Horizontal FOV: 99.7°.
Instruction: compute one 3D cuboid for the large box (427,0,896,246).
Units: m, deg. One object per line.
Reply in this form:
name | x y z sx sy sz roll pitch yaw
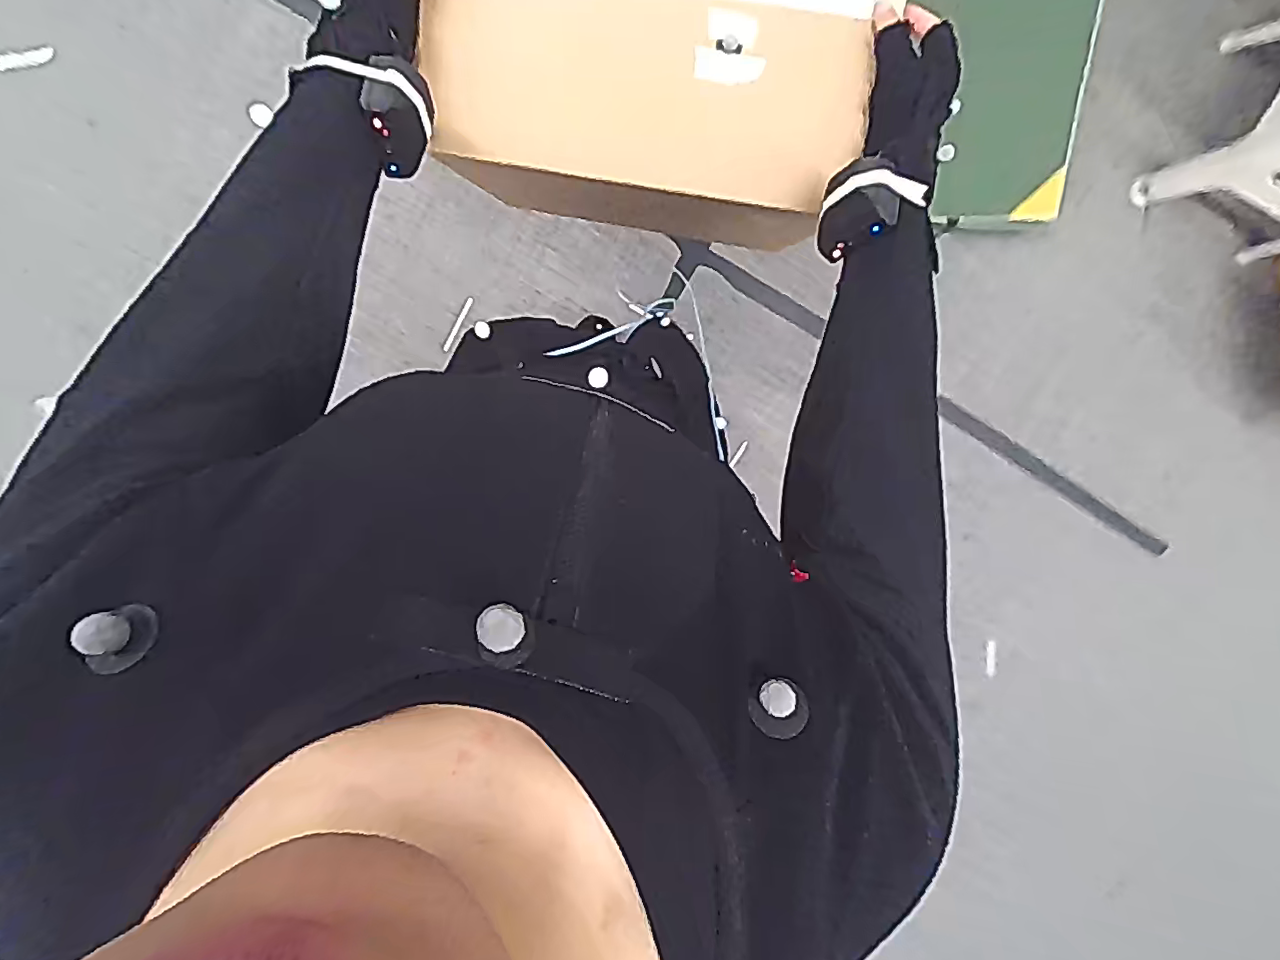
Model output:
large box | 0.022 -0.466 0.599 0.408 0.320 0.320 9 108 -1
